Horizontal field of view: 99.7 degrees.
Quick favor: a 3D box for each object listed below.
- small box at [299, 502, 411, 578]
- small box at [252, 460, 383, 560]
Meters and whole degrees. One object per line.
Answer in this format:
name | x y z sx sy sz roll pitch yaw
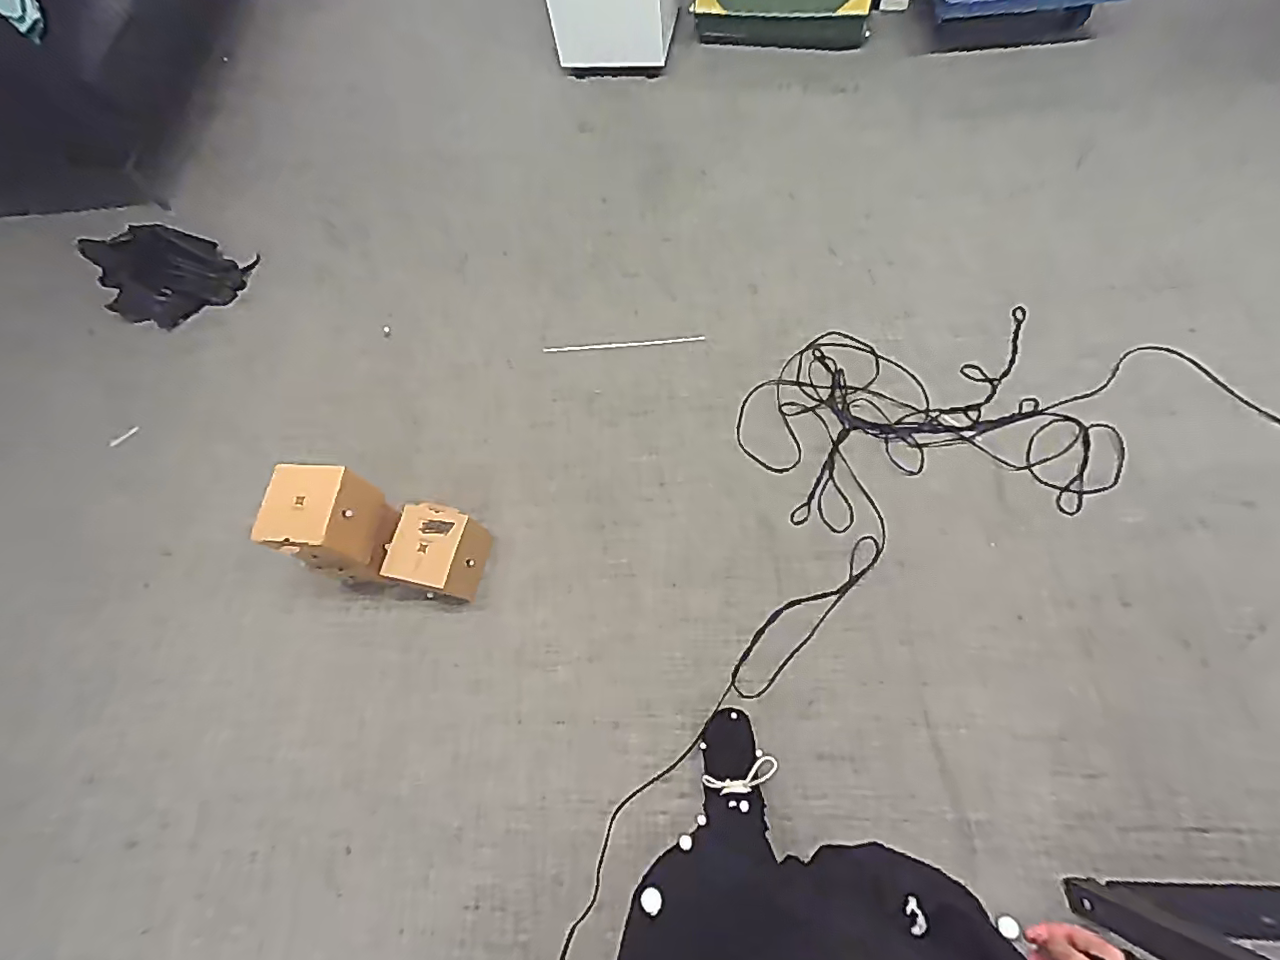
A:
small box | -0.699 0.145 1.351 0.168 0.176 0.179 2 69 7
small box | -0.704 0.070 1.205 0.168 0.176 0.179 2 68 7
